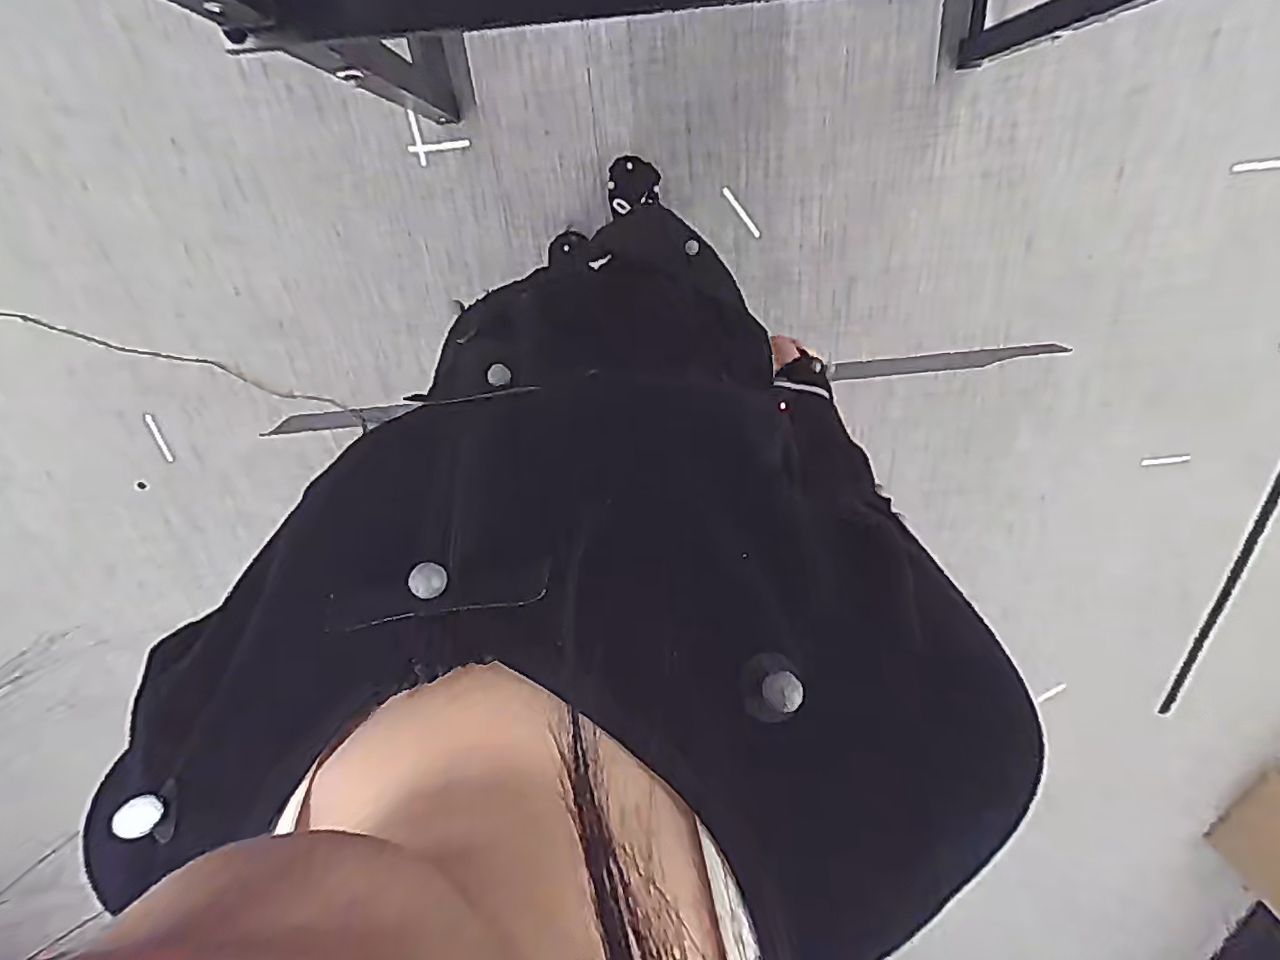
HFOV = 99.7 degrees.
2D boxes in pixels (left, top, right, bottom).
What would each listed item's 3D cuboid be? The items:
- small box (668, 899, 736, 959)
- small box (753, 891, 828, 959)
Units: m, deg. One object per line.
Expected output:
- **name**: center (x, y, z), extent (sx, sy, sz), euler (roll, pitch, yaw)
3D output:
- **small box**: center (0.174, 1.332, 1.545), extent (0.168, 0.176, 0.179), euler (-5, 117, -3)
- **small box**: center (0.429, 1.328, 1.561), extent (0.168, 0.176, 0.179), euler (-7, 118, 0)
